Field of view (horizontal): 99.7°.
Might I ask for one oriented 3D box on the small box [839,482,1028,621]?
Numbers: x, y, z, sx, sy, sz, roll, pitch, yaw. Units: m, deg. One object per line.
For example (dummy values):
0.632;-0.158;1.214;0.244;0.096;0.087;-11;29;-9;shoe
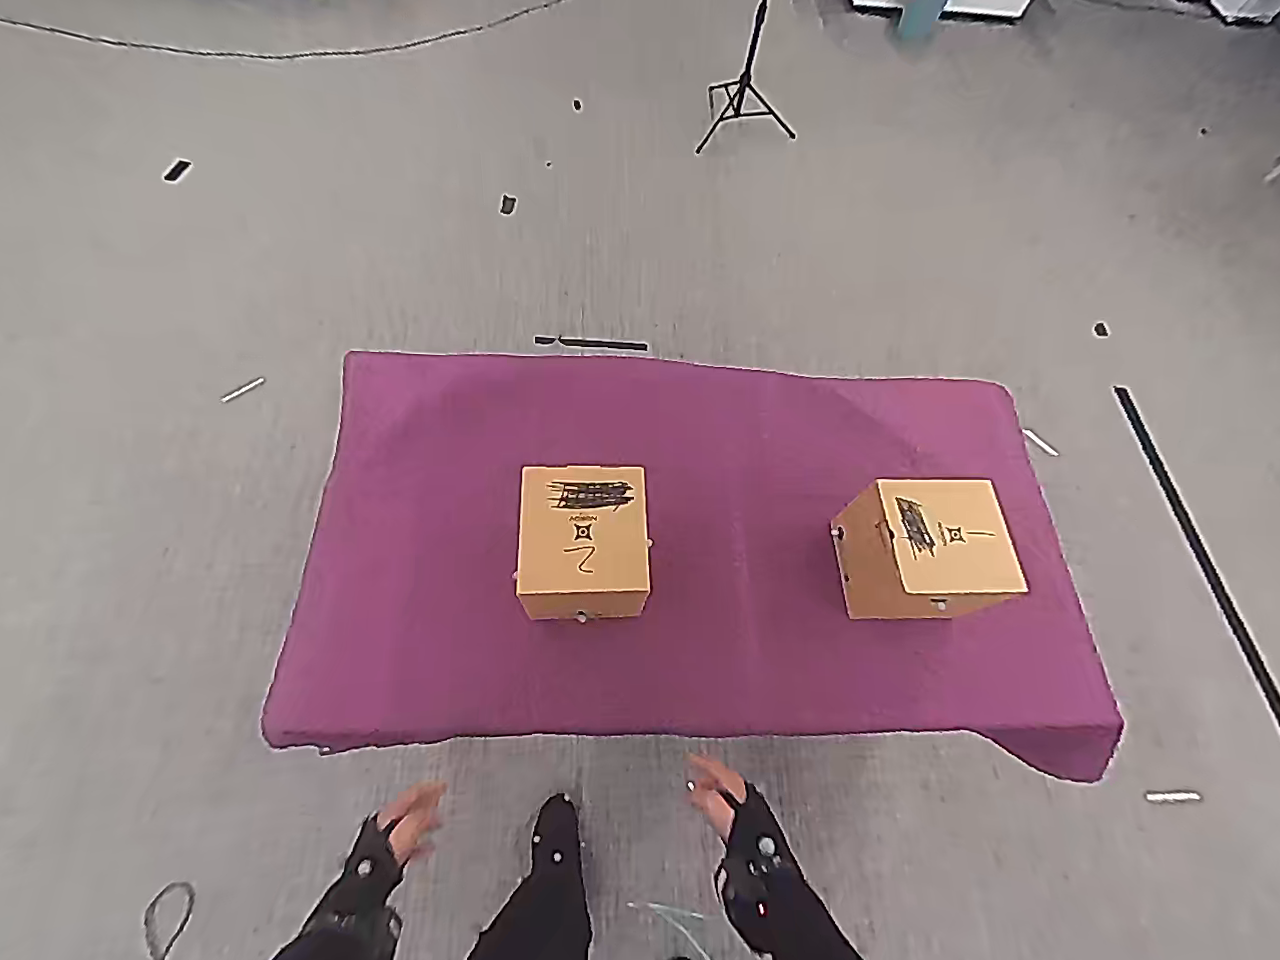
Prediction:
0.415;0.113;0.806;0.179;0.176;0.168;1;64;-5;small box
